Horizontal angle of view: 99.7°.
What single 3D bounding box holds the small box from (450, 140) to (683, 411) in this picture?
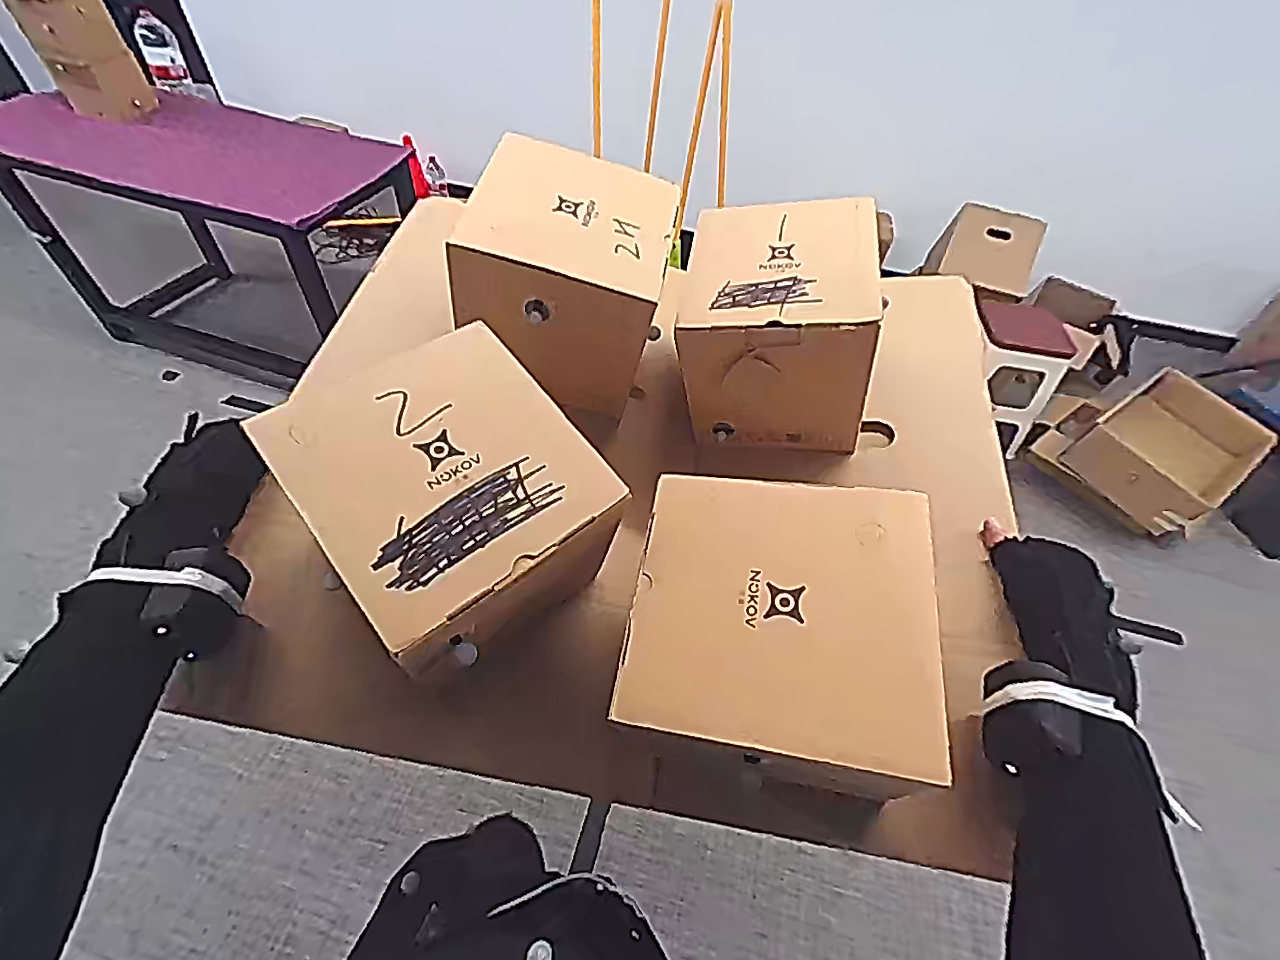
[{"bbox_3d":[-0.072,-0.193,0.546,0.179,0.176,0.168,15,60,-6],"label":"small box"}]
